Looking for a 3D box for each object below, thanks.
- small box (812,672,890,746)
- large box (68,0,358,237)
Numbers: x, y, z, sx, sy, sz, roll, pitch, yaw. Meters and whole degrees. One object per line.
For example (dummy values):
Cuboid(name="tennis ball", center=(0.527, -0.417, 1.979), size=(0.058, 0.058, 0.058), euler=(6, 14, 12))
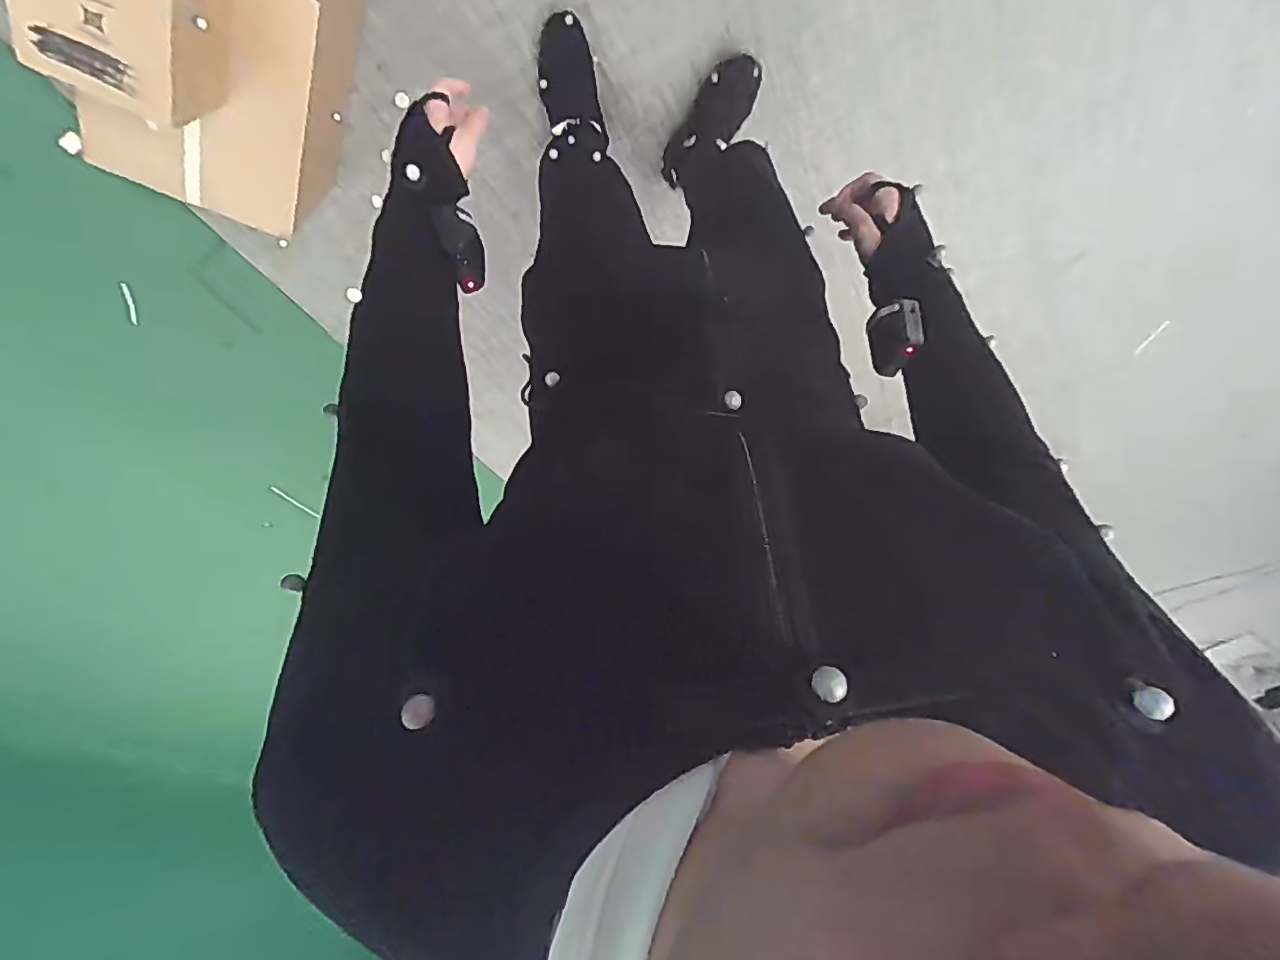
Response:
Cuboid(name="small box", center=(0.703, 0.764, 1.810), size=(0.179, 0.176, 0.168), euler=(-28, 134, 19))
Cuboid(name="large box", center=(-0.724, -0.739, 0.961), size=(0.320, 0.320, 0.408), euler=(17, 131, -25))
